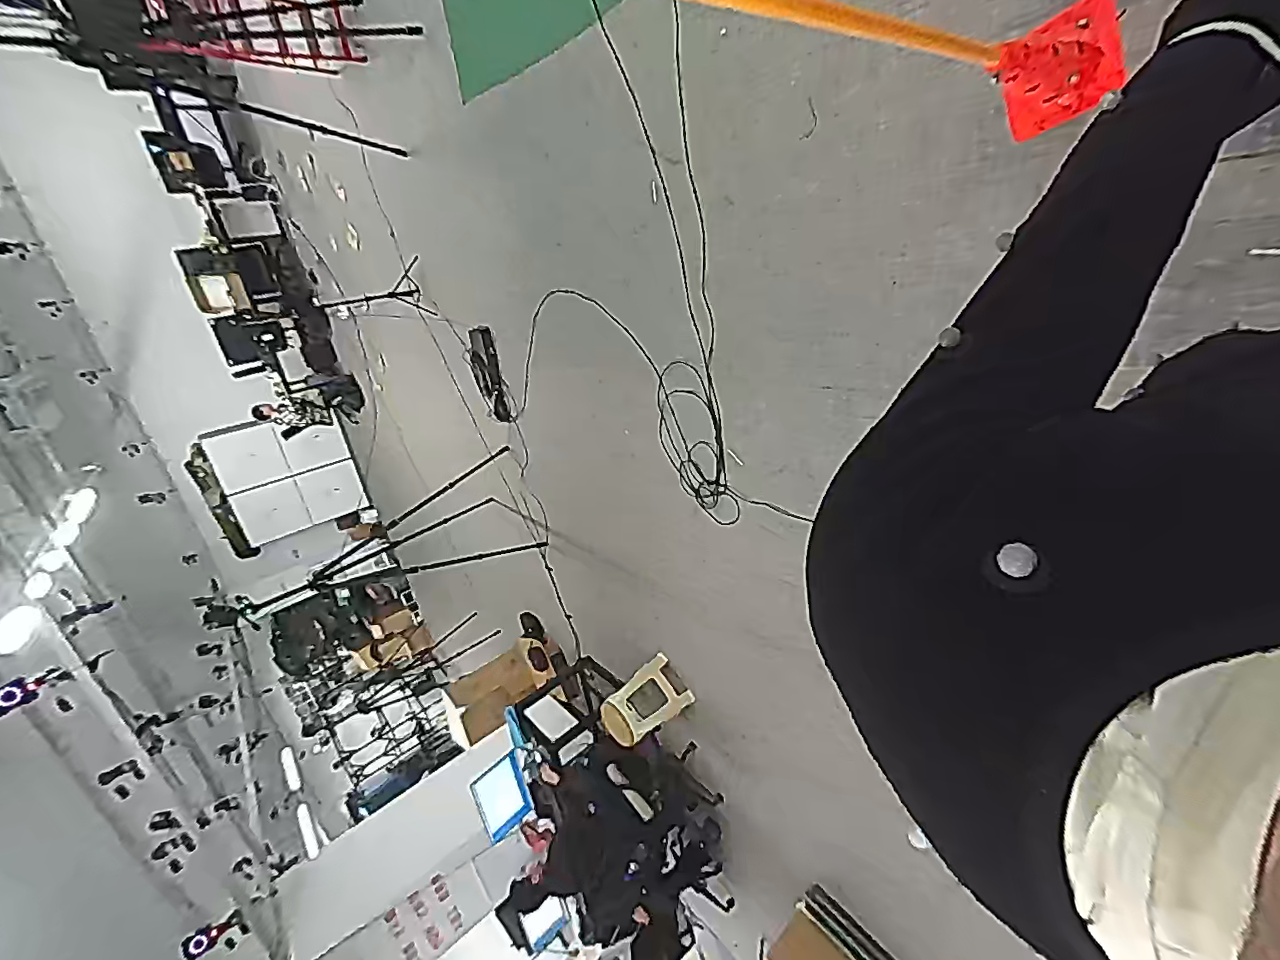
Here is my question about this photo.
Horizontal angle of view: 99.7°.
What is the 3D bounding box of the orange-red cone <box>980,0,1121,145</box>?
[{"bbox_3d":[0.745,-0.786,1.042,0.199,0.360,0.198,-3,108,55],"label":"orange-red cone"}]
